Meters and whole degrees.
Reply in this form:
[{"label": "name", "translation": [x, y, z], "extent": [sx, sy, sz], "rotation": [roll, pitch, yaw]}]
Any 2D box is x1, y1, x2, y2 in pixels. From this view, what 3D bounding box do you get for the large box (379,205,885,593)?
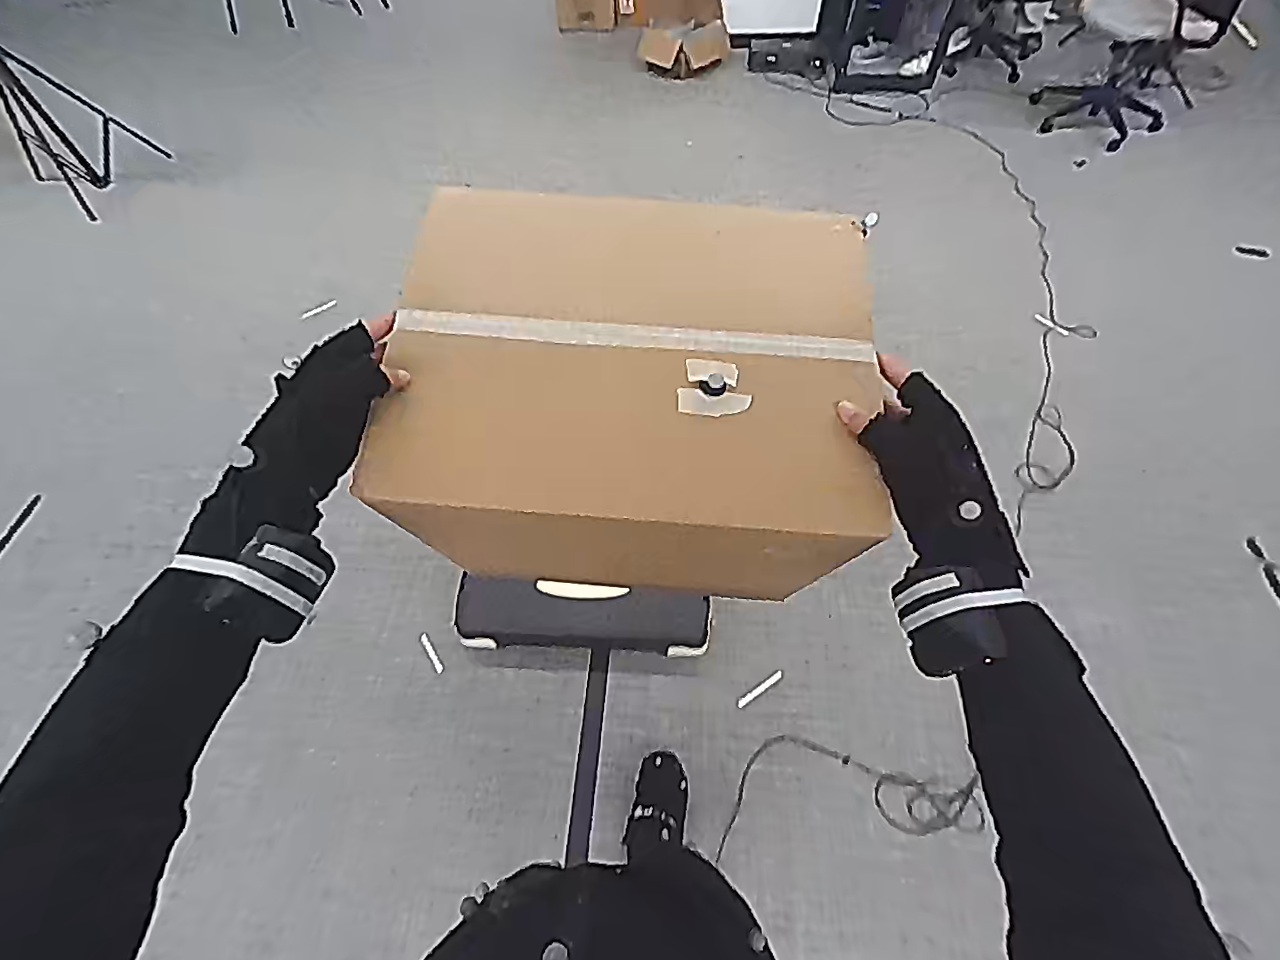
[{"label": "large box", "translation": [-0.003, -0.061, 0.610], "extent": [0.408, 0.320, 0.320], "rotation": [4, 69, 0]}]
